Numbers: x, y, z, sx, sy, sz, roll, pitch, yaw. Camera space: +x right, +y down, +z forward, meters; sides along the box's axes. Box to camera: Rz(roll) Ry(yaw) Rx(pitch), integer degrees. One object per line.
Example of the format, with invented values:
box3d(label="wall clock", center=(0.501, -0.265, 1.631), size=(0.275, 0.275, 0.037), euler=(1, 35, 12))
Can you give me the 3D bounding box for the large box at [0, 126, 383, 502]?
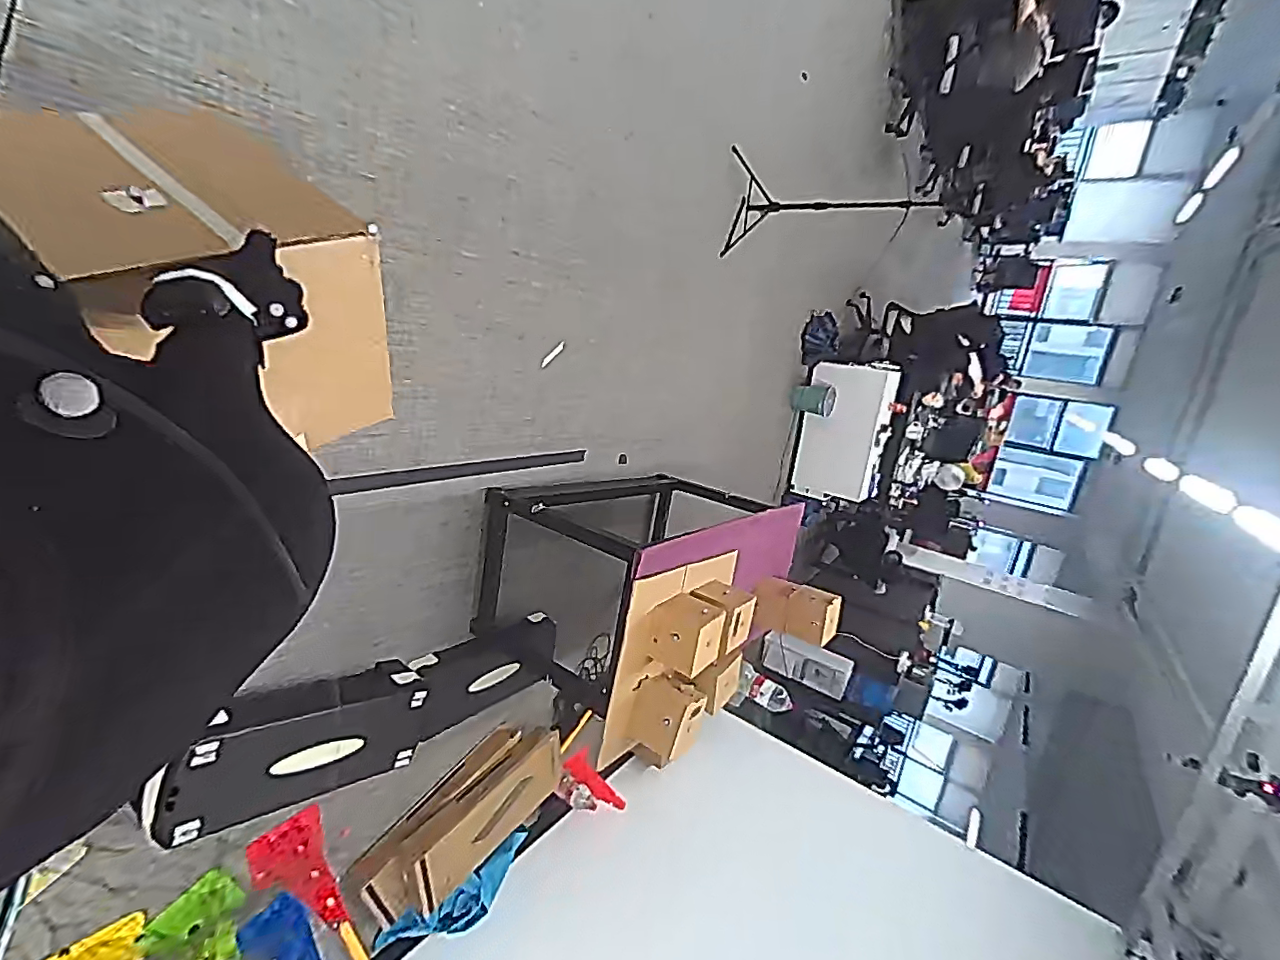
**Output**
box3d(label="large box", center=(-0.629, -0.247, 0.763), size=(0.320, 0.408, 0.320), euler=(-37, 158, -40))
